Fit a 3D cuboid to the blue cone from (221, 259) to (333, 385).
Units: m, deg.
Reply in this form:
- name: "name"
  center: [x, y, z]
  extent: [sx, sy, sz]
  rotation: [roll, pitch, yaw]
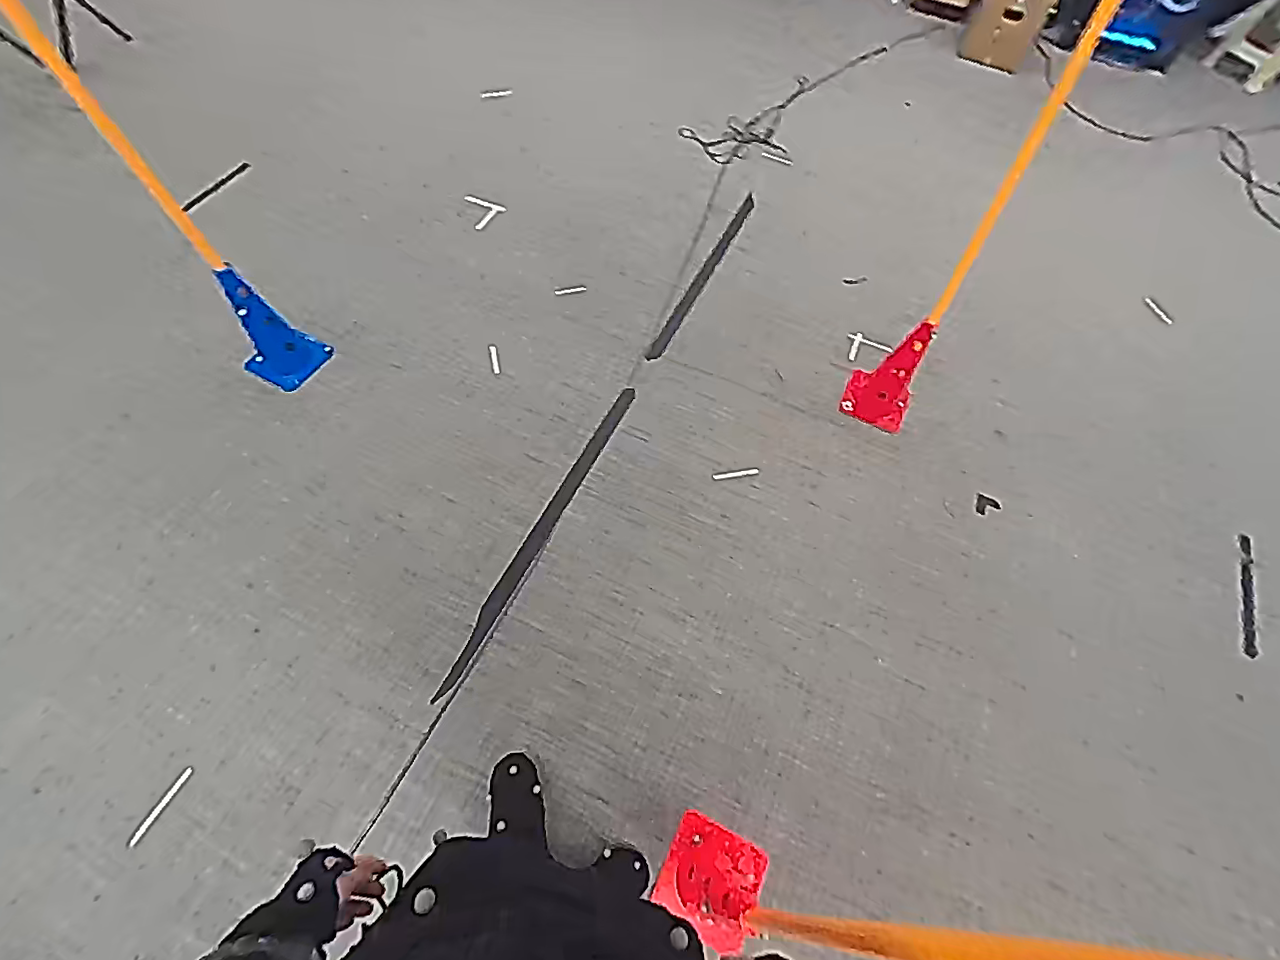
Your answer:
- name: "blue cone"
  center: [-1.093, -0.469, 1.569]
  extent: [0.193, 0.380, 0.192]
  rotation: [27, 63, 11]

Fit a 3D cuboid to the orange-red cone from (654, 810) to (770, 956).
- name: "orange-red cone"
  center: [0.159, 0.747, 0.968]
  extent: [0.198, 0.360, 0.199]
  rotation: [27, 64, 11]
